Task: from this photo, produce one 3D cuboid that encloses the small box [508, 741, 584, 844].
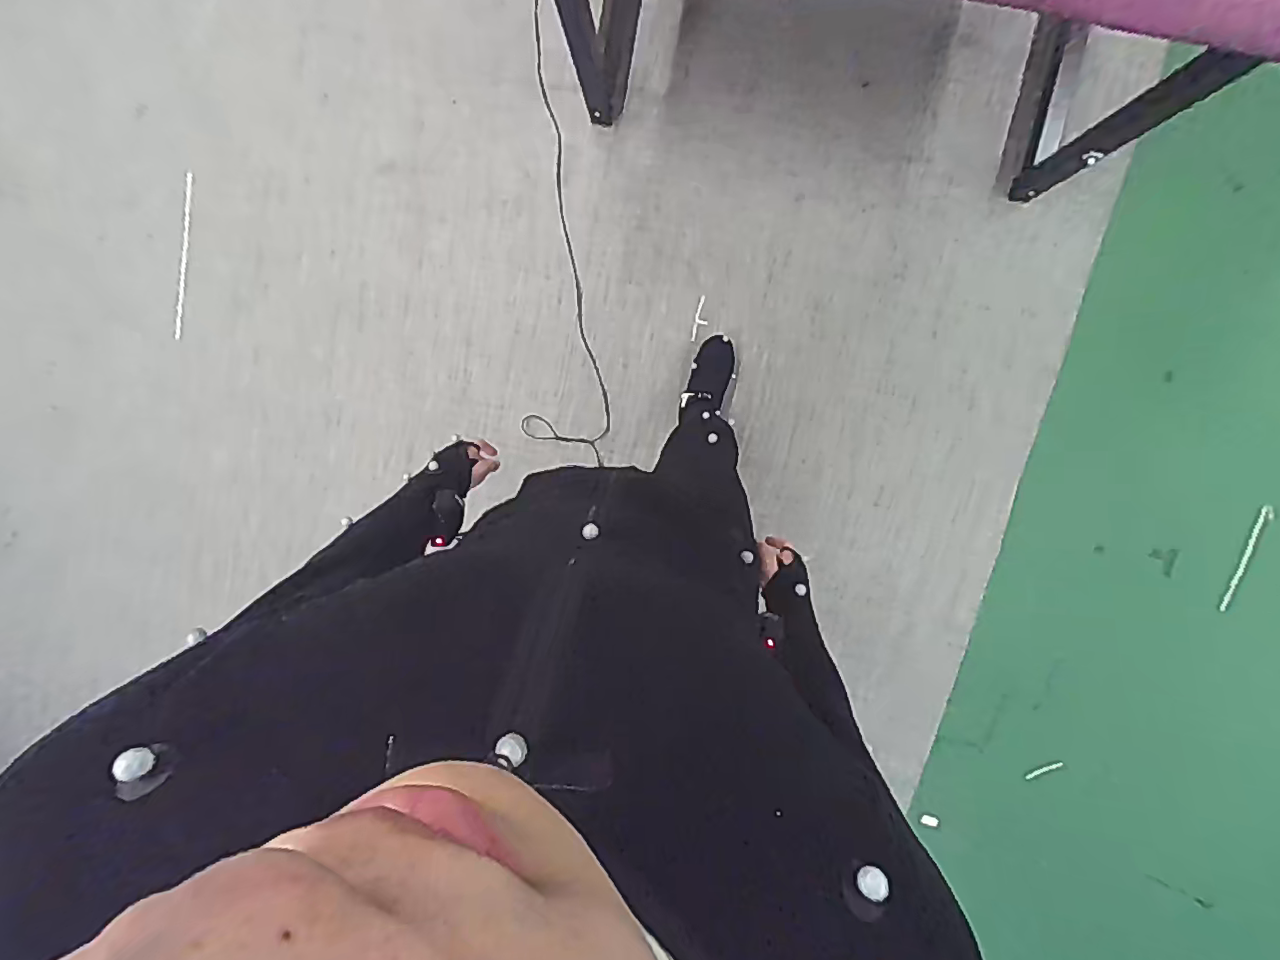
[{"bbox_3d":[-0.274,0.923,1.609,0.168,0.176,0.179,17,99,0],"label":"small box"}]
